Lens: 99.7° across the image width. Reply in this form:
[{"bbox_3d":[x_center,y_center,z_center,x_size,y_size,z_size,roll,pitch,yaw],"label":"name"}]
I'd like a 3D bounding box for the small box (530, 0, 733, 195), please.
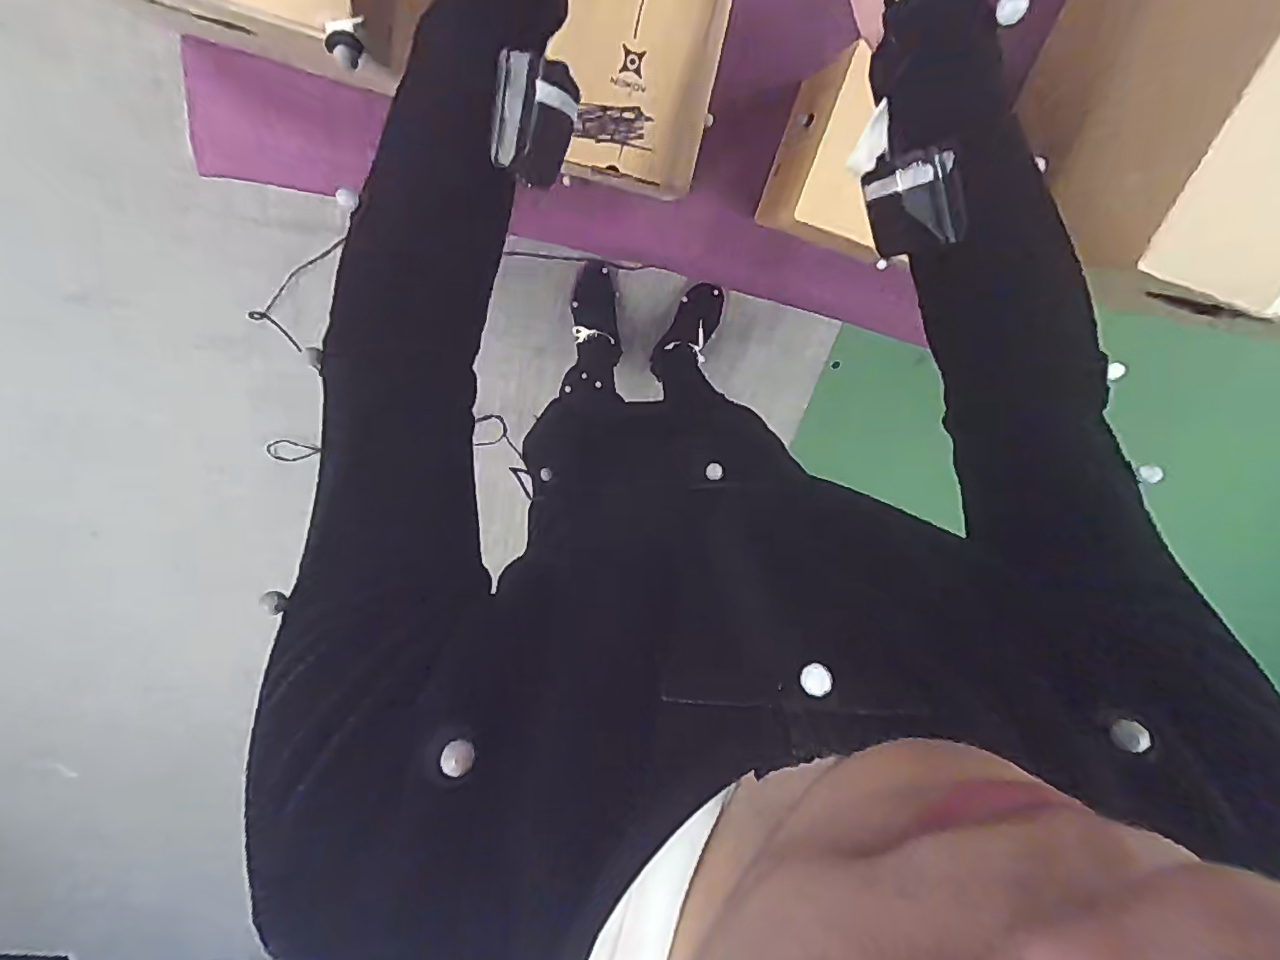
[{"bbox_3d":[-0.016,-0.422,0.583,0.168,0.176,0.179,10,114,-9],"label":"small box"}]
